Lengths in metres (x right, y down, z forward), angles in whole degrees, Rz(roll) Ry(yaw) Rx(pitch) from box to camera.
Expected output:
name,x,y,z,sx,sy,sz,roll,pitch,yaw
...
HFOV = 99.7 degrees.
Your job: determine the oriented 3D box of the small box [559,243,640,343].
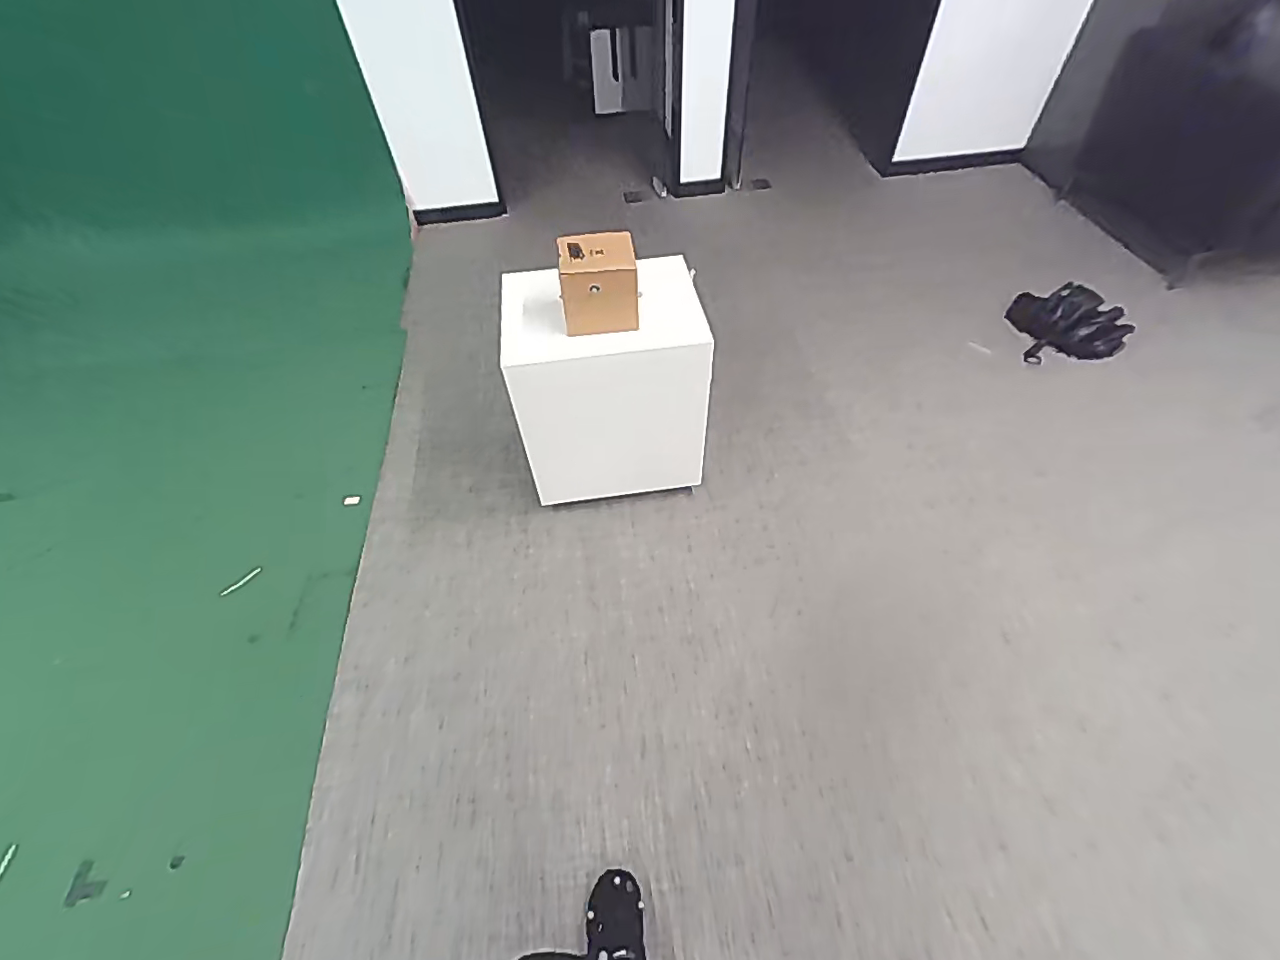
name,x,y,z,sx,sy,sz,roll,pitch,yaw
small box,-0.096,-0.451,1.316,0.179,0.176,0.168,-6,51,-3
